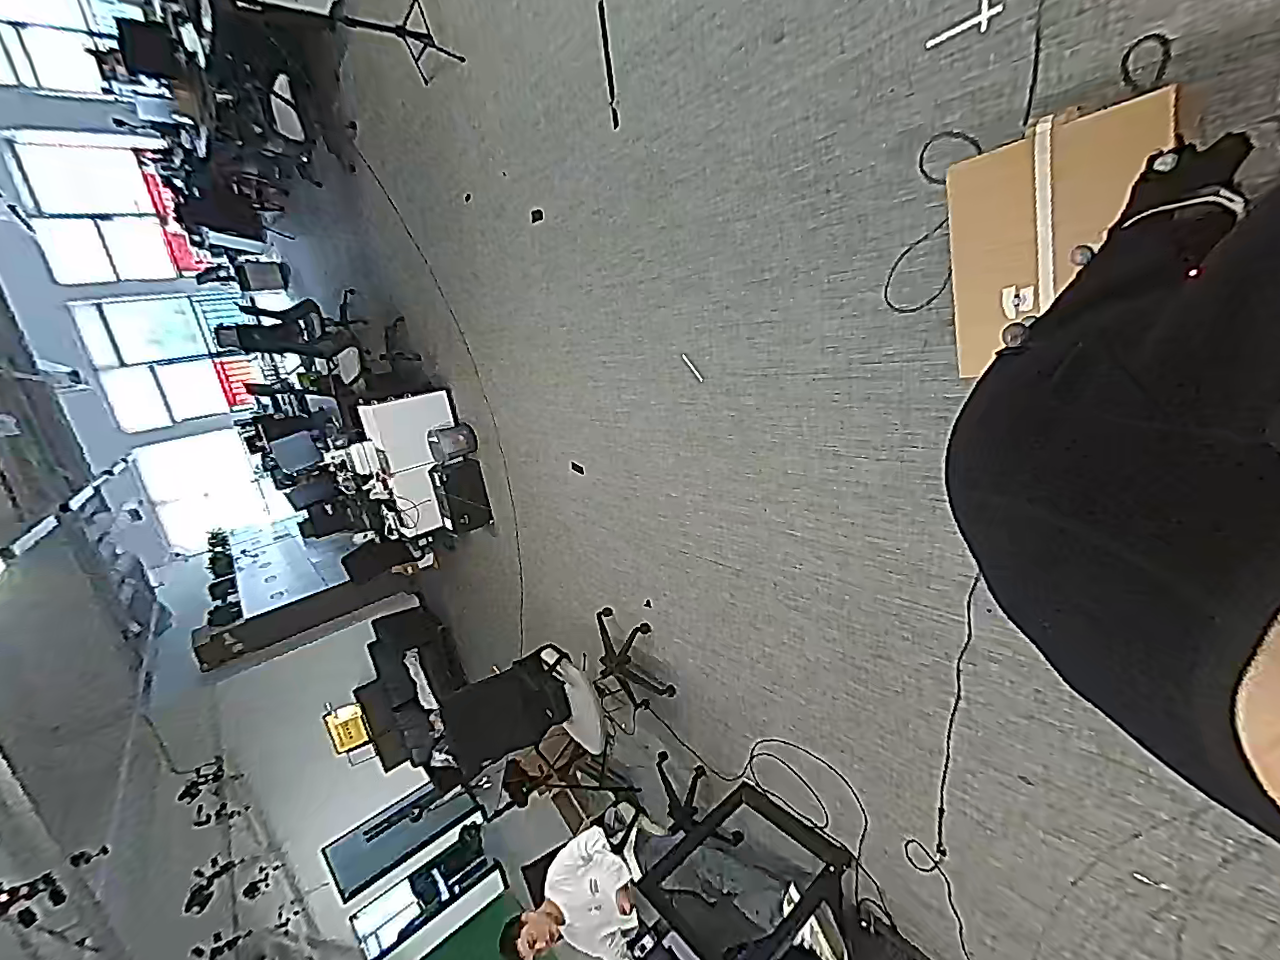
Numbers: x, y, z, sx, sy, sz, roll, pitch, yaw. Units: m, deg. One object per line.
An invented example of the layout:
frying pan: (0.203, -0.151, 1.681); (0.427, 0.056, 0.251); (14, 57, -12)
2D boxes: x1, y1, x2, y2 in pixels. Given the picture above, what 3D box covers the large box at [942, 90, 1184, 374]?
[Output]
large box: (0.826, -0.450, 1.050); (0.320, 0.320, 0.408); (5, 113, 50)
